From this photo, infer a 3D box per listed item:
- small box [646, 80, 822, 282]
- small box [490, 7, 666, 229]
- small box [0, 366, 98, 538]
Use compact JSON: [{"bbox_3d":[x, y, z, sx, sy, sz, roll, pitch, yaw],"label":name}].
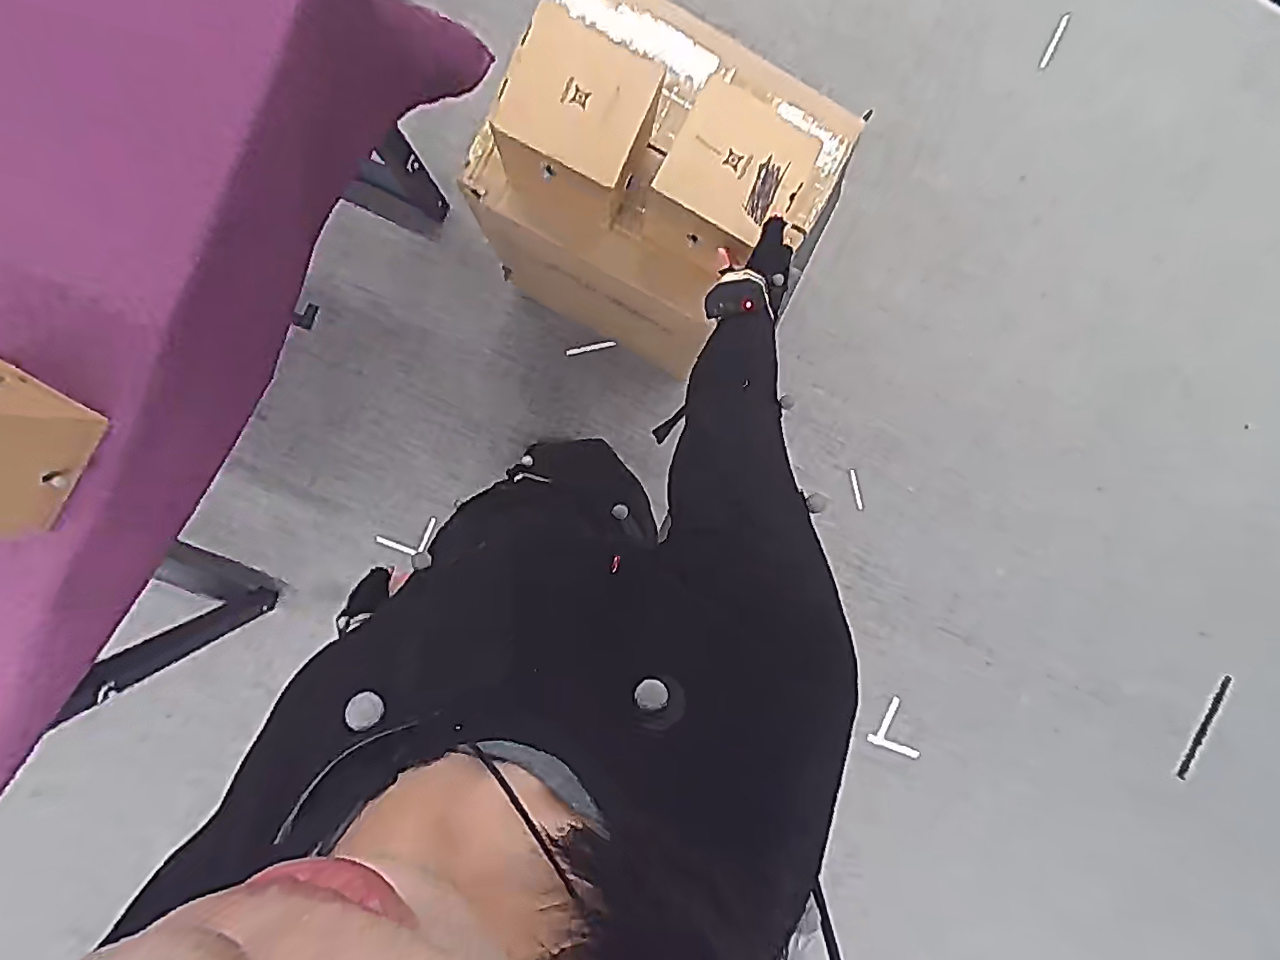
[{"bbox_3d":[0.123,-0.412,0.785,0.179,0.176,0.168,29,92,-4],"label":"small box"},{"bbox_3d":[-0.086,-0.488,0.764,0.179,0.176,0.168,25,93,-7],"label":"small box"},{"bbox_3d":[-0.809,-0.039,0.631,0.168,0.176,0.179,31,90,-5],"label":"small box"}]
